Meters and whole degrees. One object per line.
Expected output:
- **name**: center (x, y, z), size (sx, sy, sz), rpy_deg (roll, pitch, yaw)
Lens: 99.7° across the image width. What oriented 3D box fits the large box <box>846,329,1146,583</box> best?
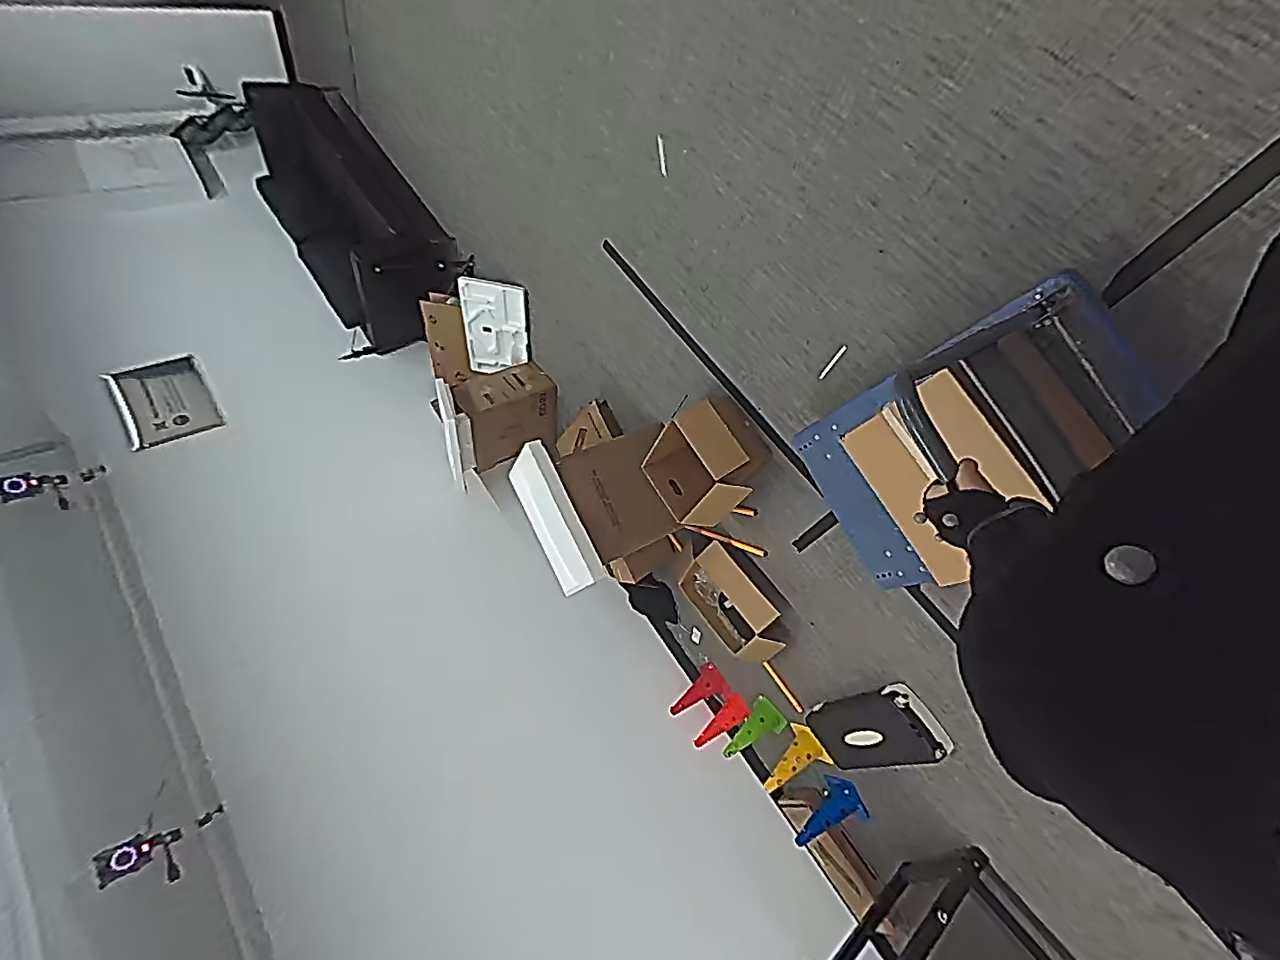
- **large box**: center (0.753, -0.049, 1.176), size (0.408, 0.320, 0.320), rpy_deg (59, 150, 10)
